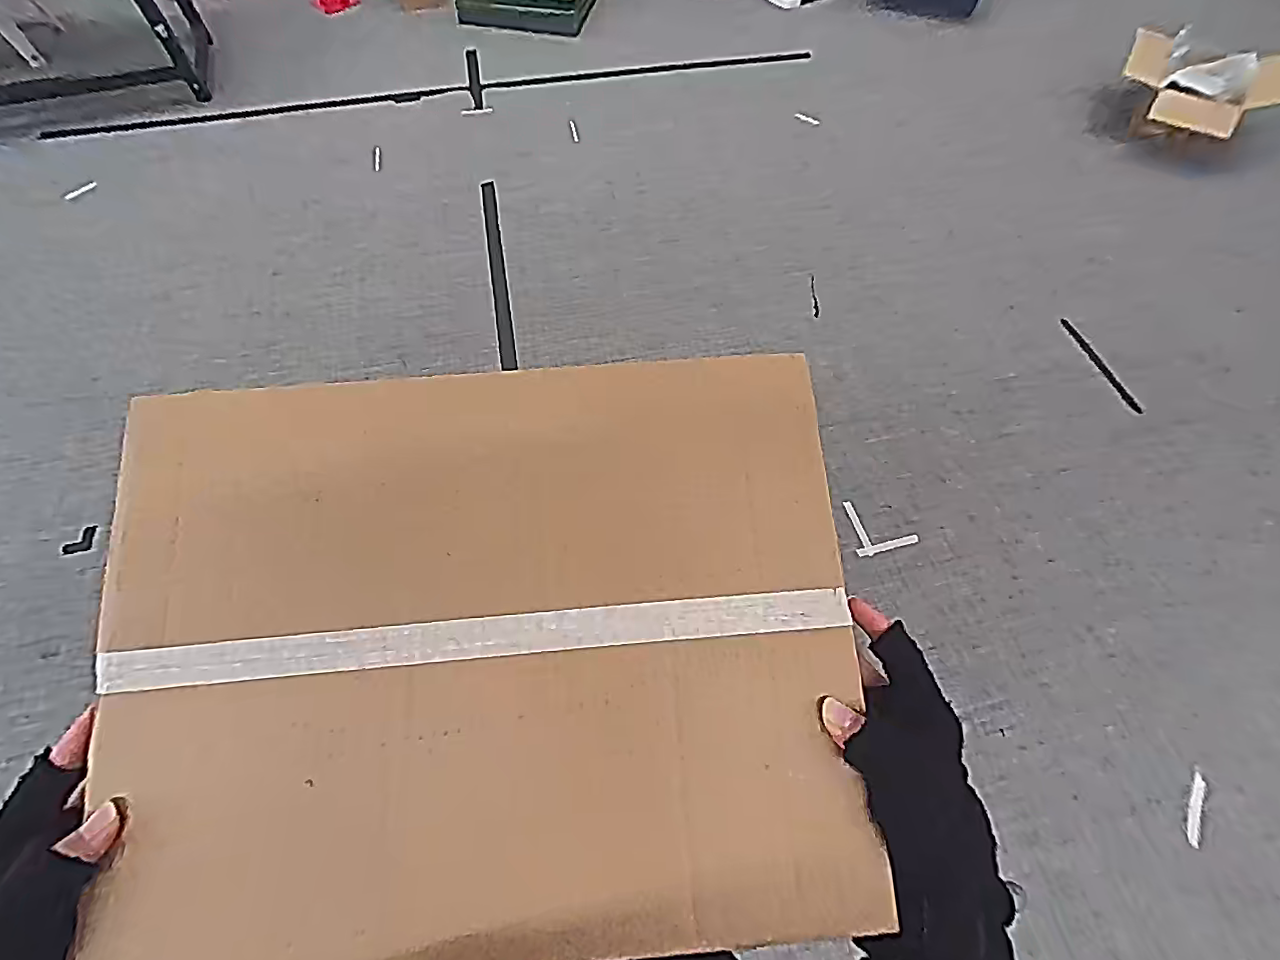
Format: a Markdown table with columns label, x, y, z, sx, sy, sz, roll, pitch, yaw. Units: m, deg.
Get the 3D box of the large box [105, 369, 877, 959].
| label | x | y | z | sx | sy | sz | roll | pitch | yaw |
| --- | --- | --- | --- | --- | --- | --- | --- | --- | --- |
| large box | -0.087 | 0.126 | 0.454 | 0.408 | 0.320 | 0.320 | -4 | 78 | -2 |
